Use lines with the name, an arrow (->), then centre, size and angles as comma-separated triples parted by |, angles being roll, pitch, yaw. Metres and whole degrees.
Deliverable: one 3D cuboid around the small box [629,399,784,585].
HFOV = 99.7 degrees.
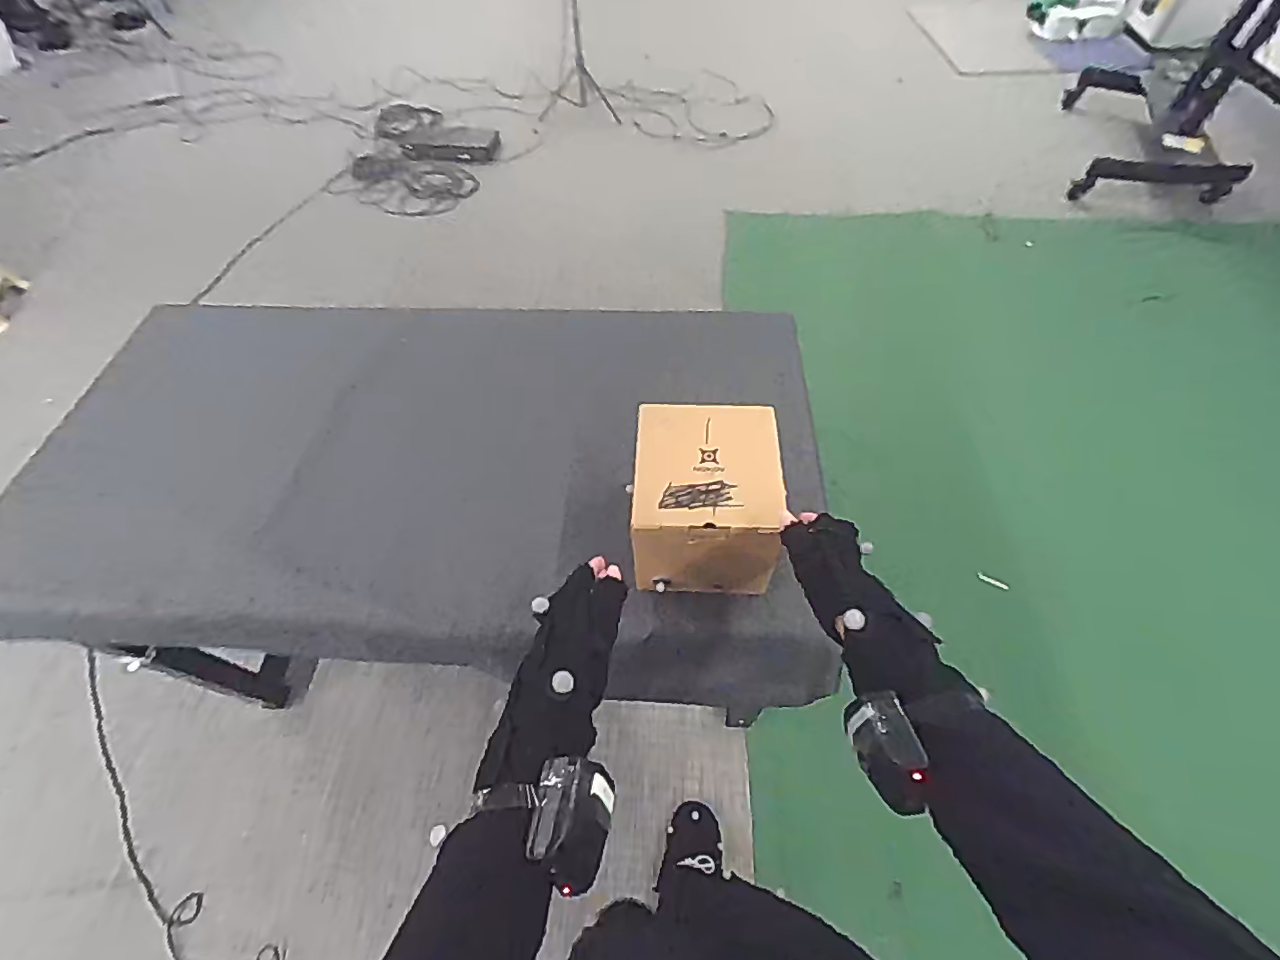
small box -> 0.077, 0.020, 0.676 | 0.168, 0.176, 0.179 | 2, 55, 3
